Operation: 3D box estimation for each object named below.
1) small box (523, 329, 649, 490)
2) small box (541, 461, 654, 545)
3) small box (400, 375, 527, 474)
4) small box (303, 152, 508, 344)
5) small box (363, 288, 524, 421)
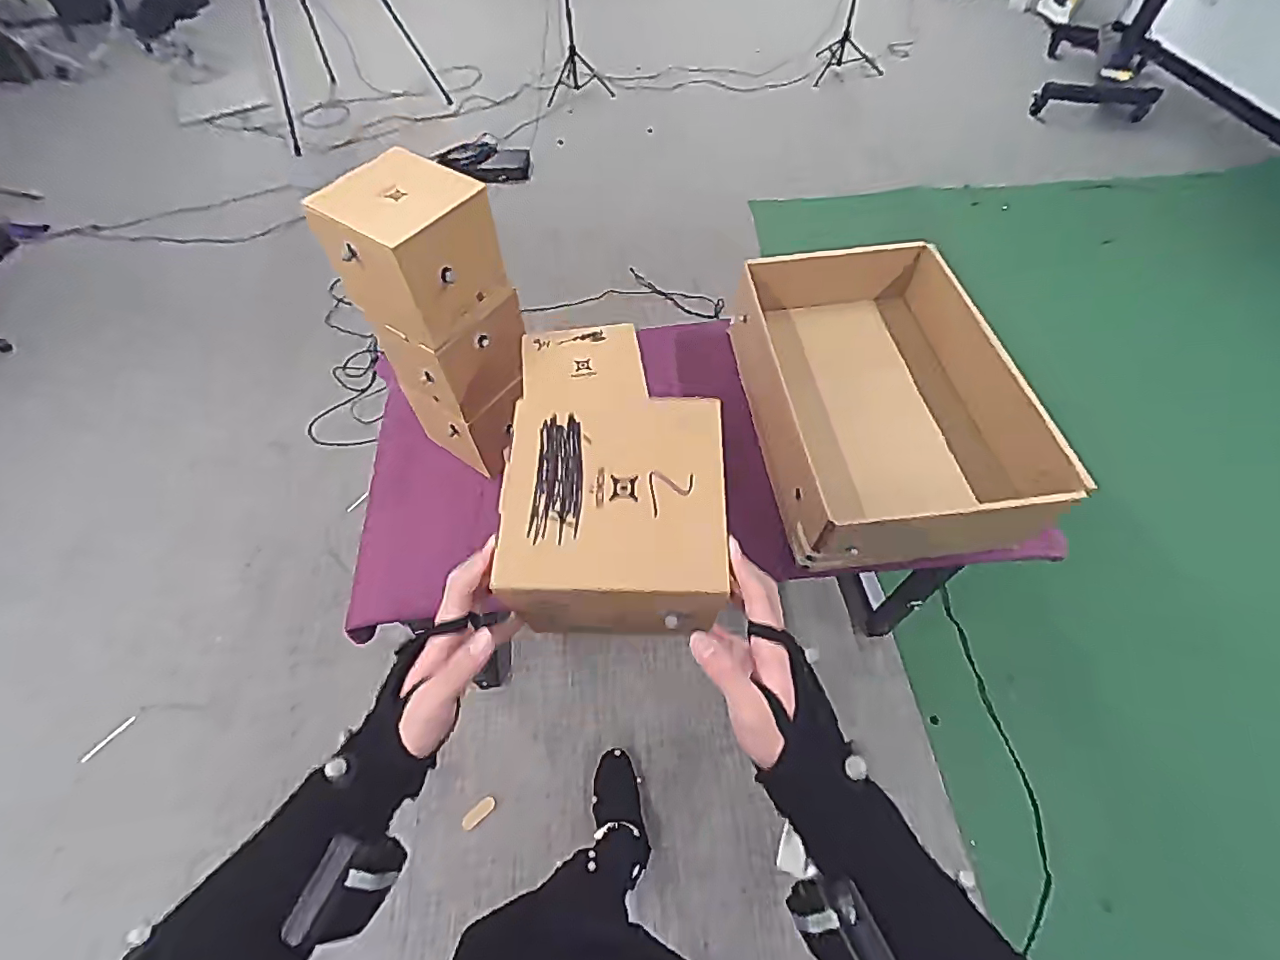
[{"bbox_3d":[-0.077,-0.097,0.806,0.168,0.176,0.179,-6,56,-4],"label":"small box"},{"bbox_3d":[-0.073,-0.001,0.939,0.179,0.176,0.168,-8,56,-4],"label":"small box"},{"bbox_3d":[-0.311,-0.137,1.032,0.179,0.176,0.168,31,62,19],"label":"small box"},{"bbox_3d":[-0.313,-0.319,0.764,0.179,0.176,0.168,30,62,18],"label":"small box"},{"bbox_3d":[-0.307,-0.230,0.899,0.168,0.176,0.179,32,62,18],"label":"small box"}]
